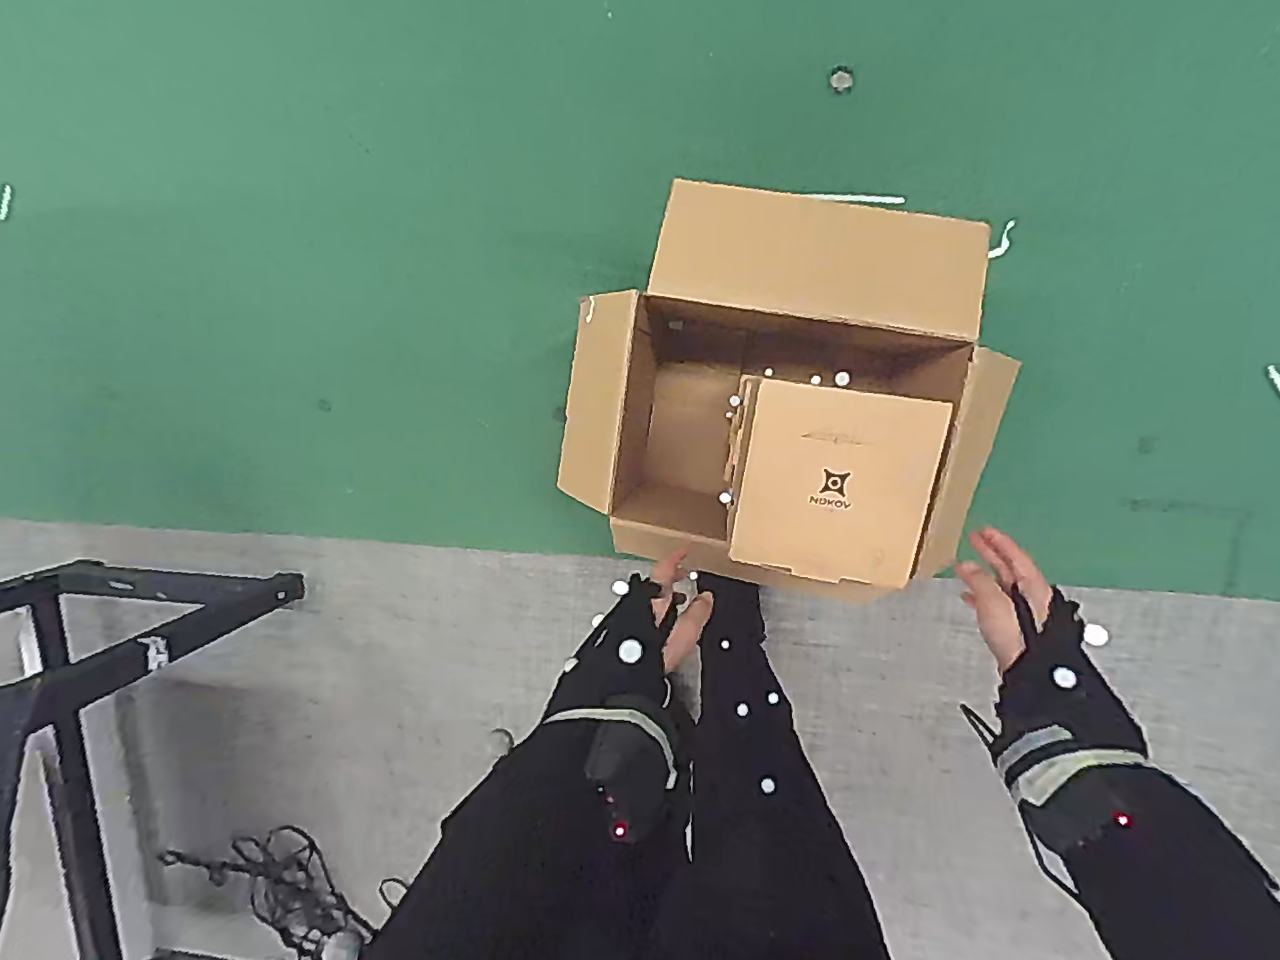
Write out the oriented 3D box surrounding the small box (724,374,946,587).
[{"bbox_3d":[0.184,-0.012,0.565,0.168,0.176,0.179,9,101,7],"label":"small box"}]
